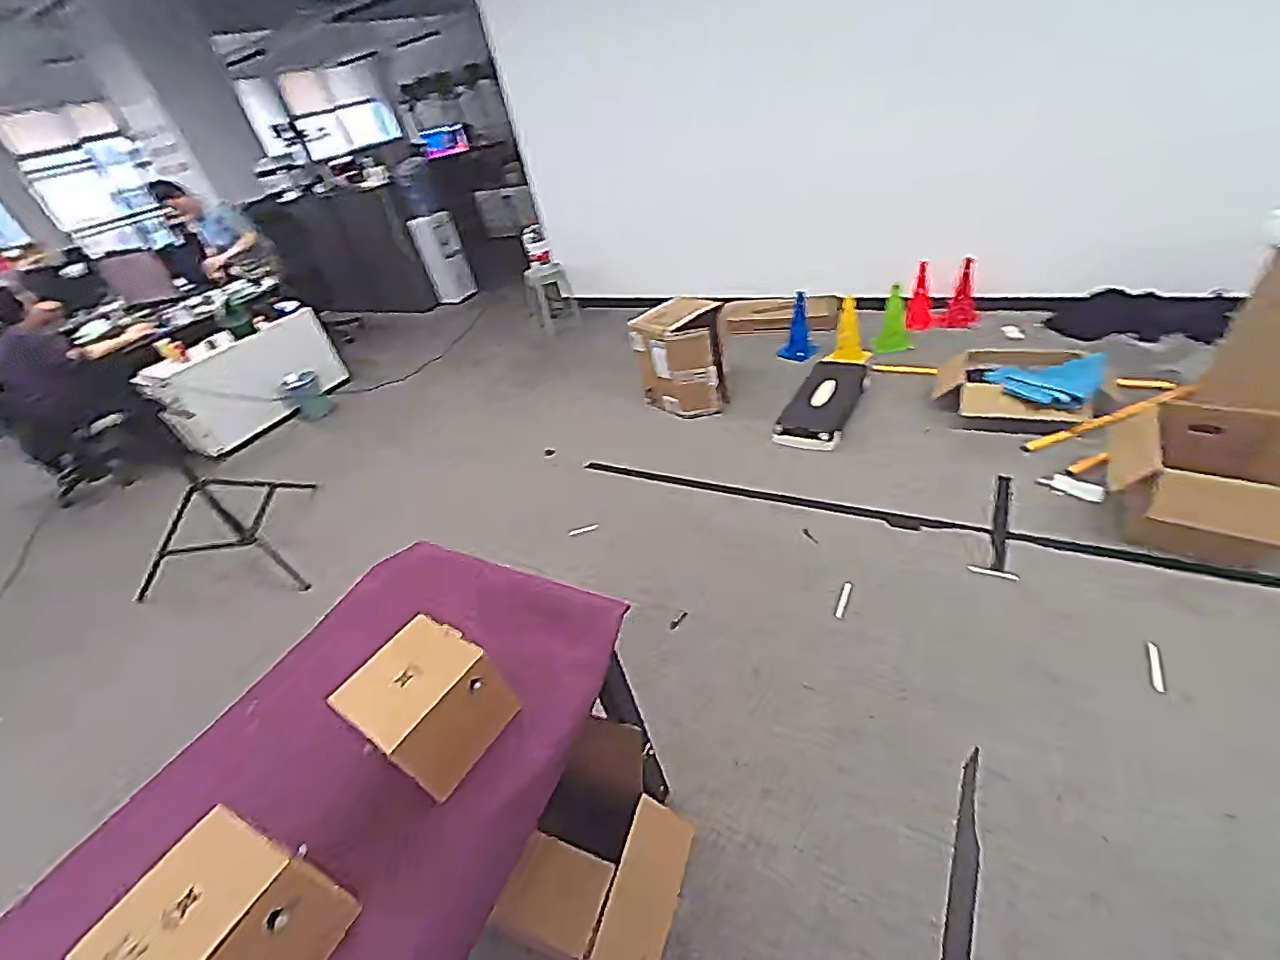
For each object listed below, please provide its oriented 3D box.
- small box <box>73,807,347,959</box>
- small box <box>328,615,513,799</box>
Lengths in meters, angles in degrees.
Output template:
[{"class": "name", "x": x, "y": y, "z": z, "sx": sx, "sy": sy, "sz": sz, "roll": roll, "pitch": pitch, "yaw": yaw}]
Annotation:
[{"class": "small box", "x": -0.488, "y": 0.541, "z": 0.643, "sx": 0.168, "sy": 0.176, "sz": 0.179, "roll": 7, "pitch": 42, "yaw": 29}, {"class": "small box", "x": -0.328, "y": 0.350, "z": 0.841, "sx": 0.168, "sy": 0.176, "sz": 0.179, "roll": 14, "pitch": 45, "yaw": 32}]
